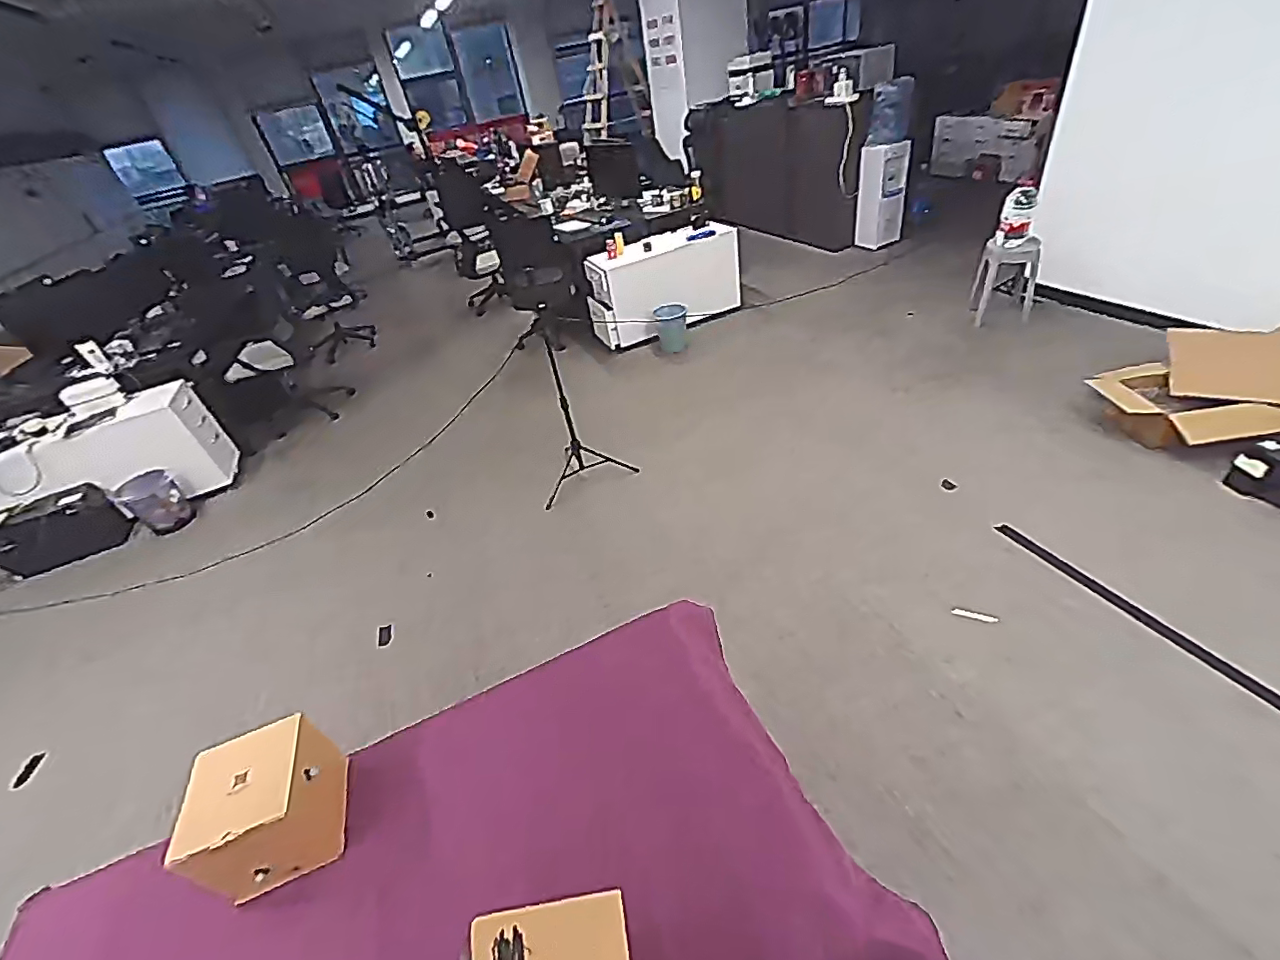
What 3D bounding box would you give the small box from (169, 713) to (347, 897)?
[{"bbox_3d":[-0.602,0.528,0.883,0.168,0.176,0.179,-20,38,-11],"label":"small box"}]
